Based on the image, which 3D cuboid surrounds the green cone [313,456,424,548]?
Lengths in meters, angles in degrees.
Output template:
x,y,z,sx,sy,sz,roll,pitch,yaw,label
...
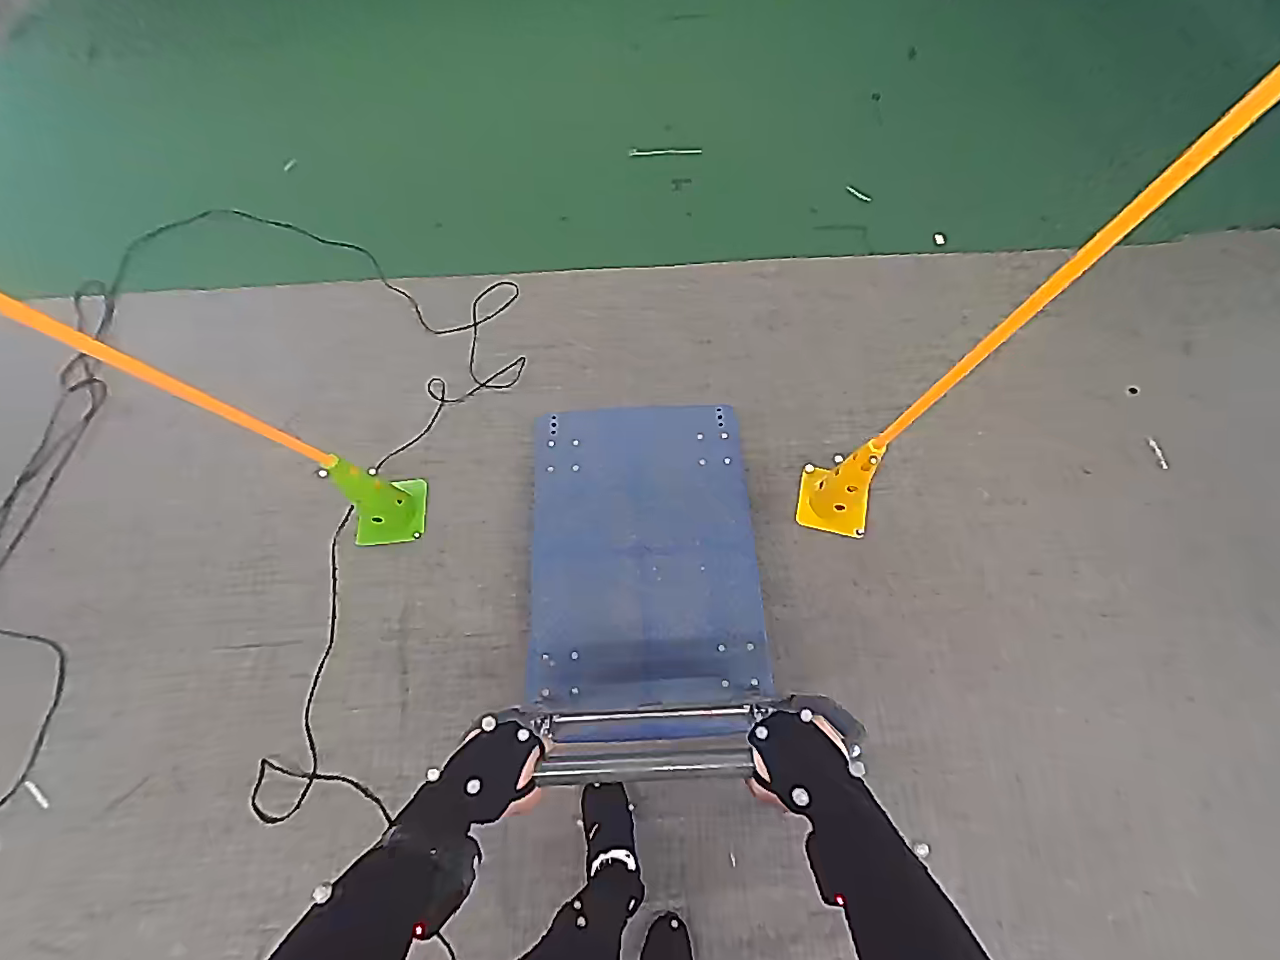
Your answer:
x,y,z,sx,sy,sz,roll,pitch,yaw,label
-0.761,0.028,1.473,0.202,0.368,0.200,-7,65,0,green cone
